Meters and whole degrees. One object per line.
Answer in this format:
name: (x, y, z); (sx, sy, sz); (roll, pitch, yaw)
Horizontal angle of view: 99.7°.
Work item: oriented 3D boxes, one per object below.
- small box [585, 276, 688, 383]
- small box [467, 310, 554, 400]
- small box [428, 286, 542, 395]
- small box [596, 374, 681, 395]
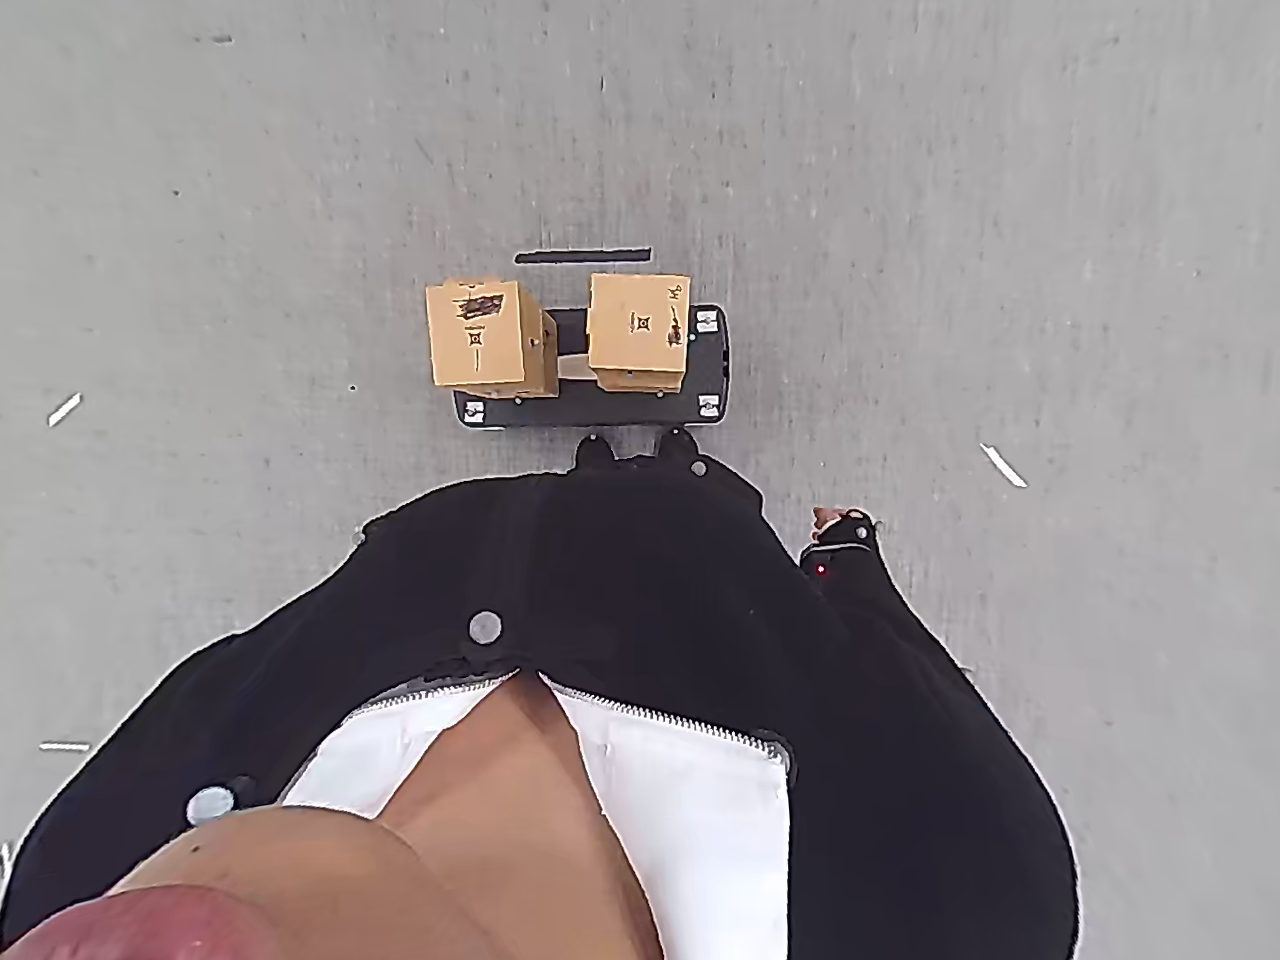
small box: (-0.002, -0.277, 1.024); (0.179, 0.176, 0.168); (3, 95, 3)
small box: (-0.280, -0.268, 1.195); (0.168, 0.176, 0.179); (-1, 95, 2)
small box: (-0.287, -0.258, 1.032); (0.168, 0.176, 0.179); (-2, 96, 2)
small box: (0.001, -0.274, 1.189); (0.179, 0.176, 0.168); (1, 95, 4)
